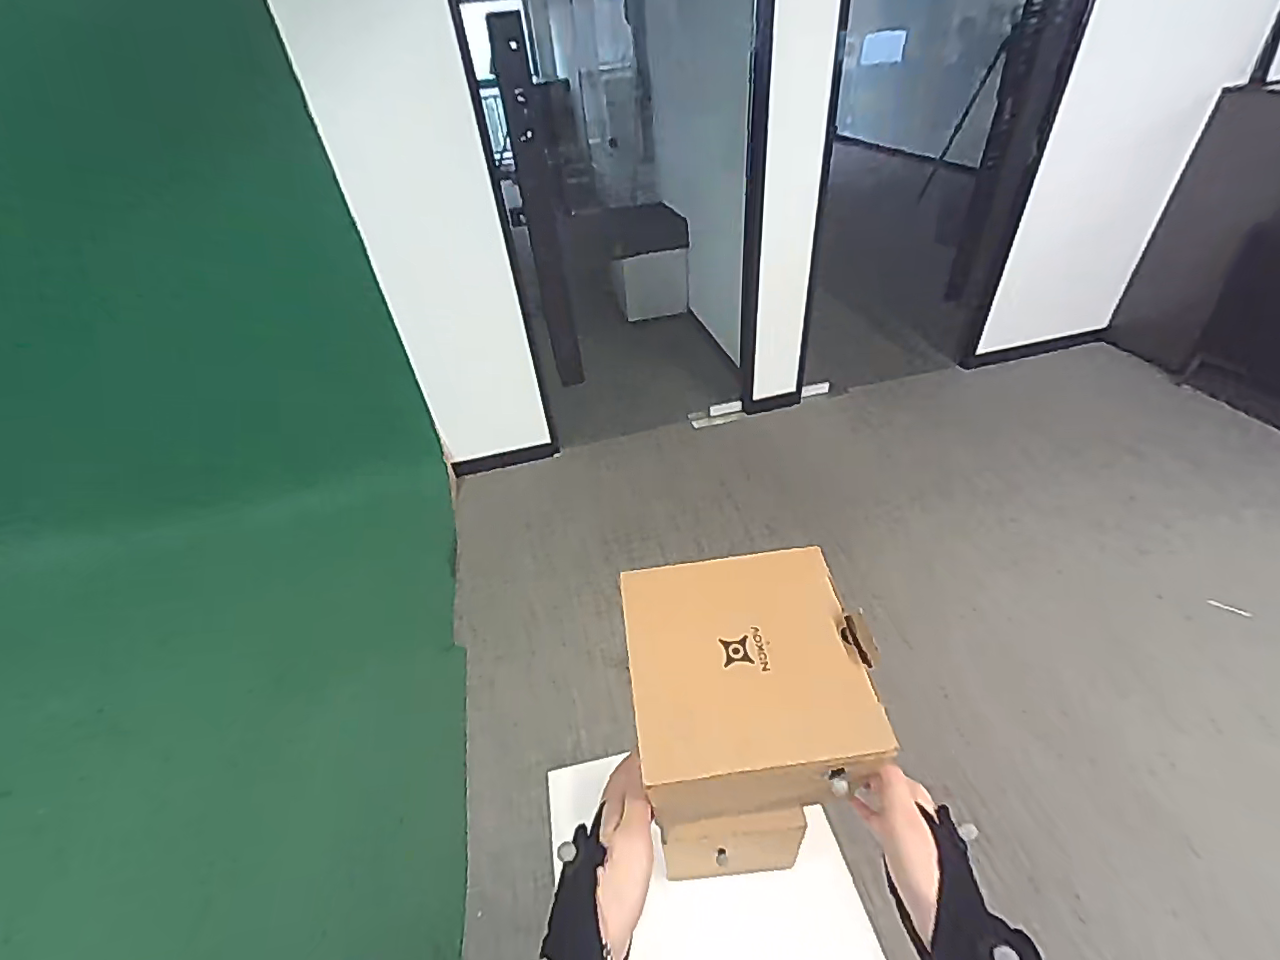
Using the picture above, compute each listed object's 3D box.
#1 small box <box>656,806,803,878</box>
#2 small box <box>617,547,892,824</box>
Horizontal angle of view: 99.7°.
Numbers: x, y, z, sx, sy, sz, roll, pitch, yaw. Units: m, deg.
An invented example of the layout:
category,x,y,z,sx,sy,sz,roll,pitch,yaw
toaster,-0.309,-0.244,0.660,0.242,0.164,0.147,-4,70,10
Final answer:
category,x,y,z,sx,sy,sz,roll,pitch,yaw
small box,0.111,0.426,0.748,0.179,0.176,0.168,-7,40,0
small box,0.080,0.181,0.468,0.179,0.176,0.168,-7,49,-2
